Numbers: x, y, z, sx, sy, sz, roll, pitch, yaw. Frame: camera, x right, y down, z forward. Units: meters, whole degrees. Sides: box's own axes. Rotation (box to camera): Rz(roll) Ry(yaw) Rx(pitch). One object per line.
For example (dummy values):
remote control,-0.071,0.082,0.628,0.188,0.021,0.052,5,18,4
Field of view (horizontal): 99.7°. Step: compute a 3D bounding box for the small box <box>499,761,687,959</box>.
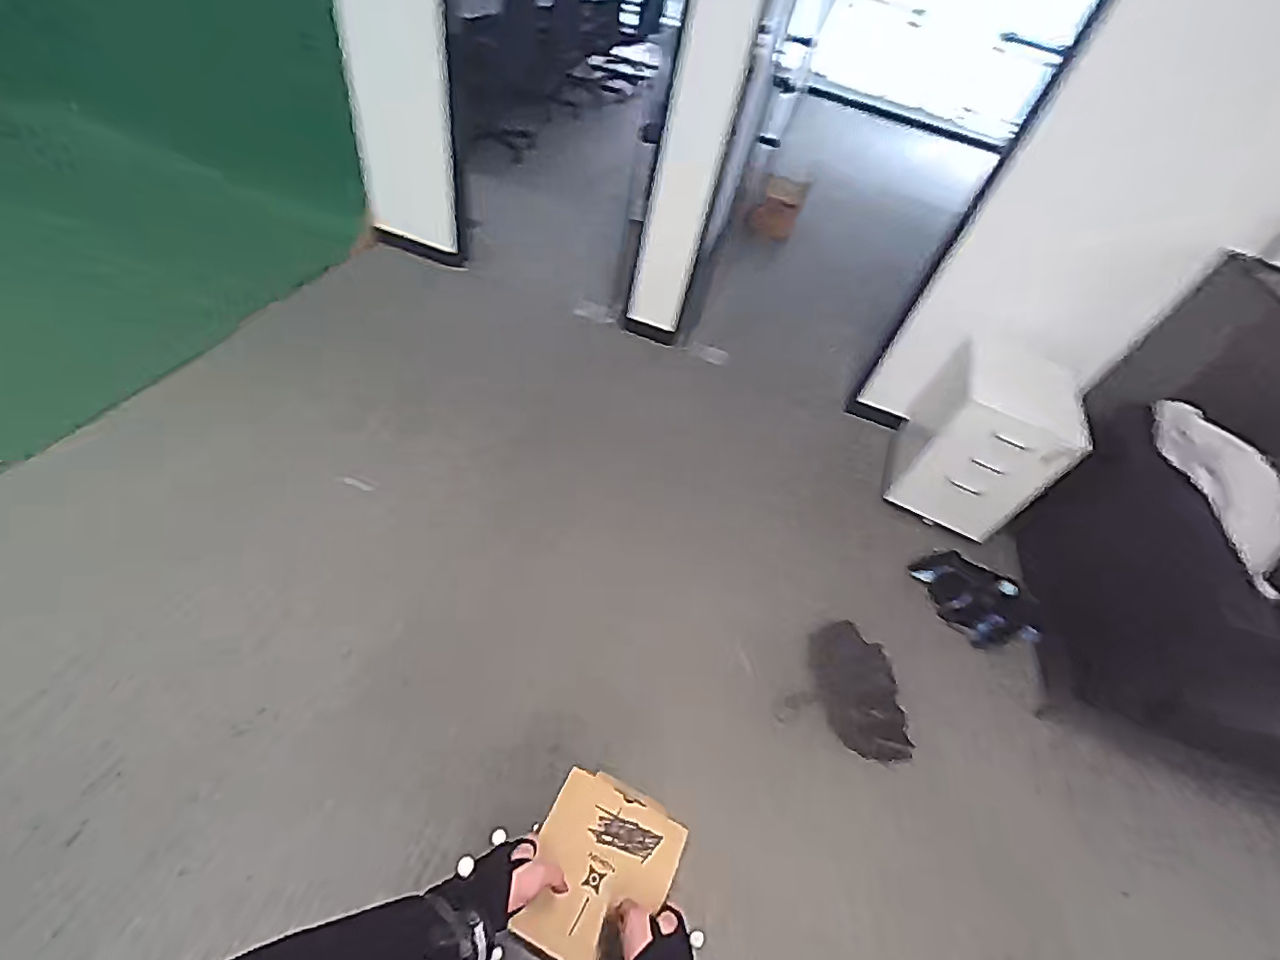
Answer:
small box,-0.059,0.498,0.679,0.168,0.176,0.179,22,48,11
